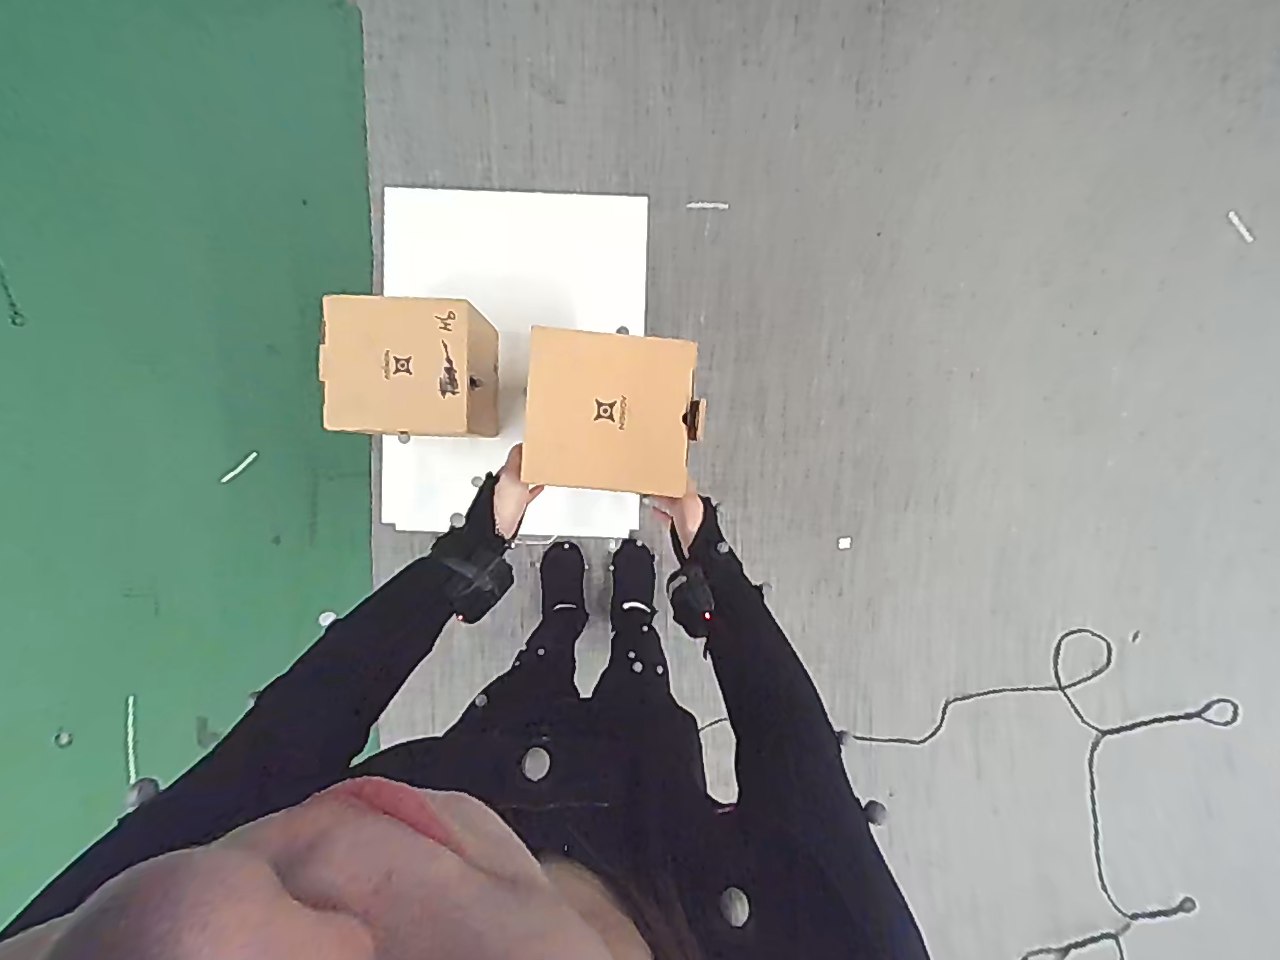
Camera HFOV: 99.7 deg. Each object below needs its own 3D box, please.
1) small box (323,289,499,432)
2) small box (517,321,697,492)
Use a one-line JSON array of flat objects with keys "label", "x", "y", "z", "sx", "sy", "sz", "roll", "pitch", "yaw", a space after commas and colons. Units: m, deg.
[{"label": "small box", "x": -0.302, "y": -0.153, "z": 0.741, "sx": 0.179, "sy": 0.176, "sz": 0.168, "roll": 1, "pitch": 93, "yaw": -3}, {"label": "small box", "x": -0.040, "y": -0.077, "z": 0.640, "sx": 0.179, "sy": 0.176, "sz": 0.168, "roll": 5, "pitch": 91, "yaw": -6}]
